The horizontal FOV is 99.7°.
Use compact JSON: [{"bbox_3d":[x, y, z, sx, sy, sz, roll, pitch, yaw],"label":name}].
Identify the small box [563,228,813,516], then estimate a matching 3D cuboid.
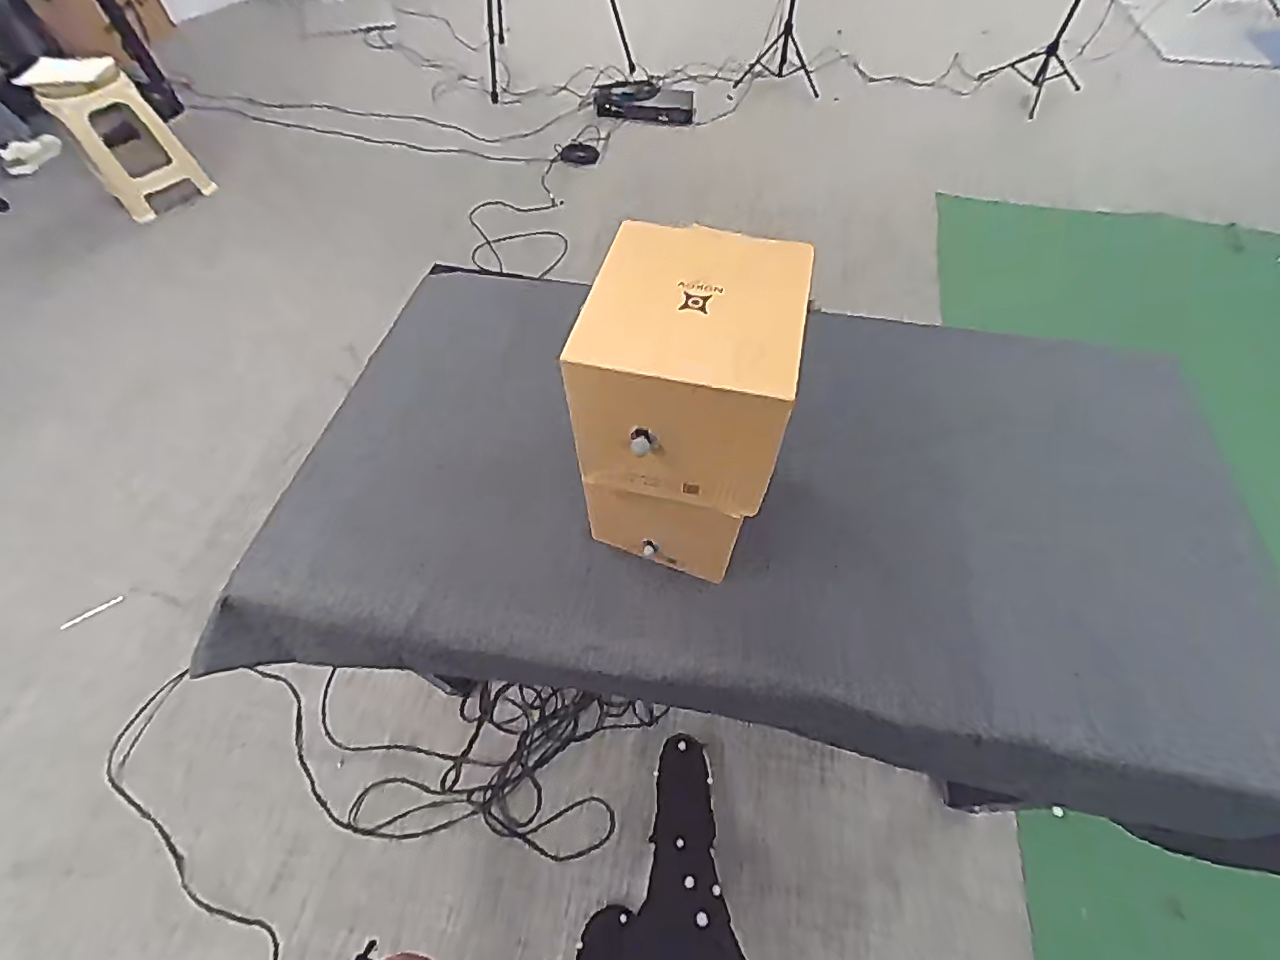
[{"bbox_3d":[0.046,-0.089,0.480,0.168,0.176,0.179,11,58,8],"label":"small box"}]
